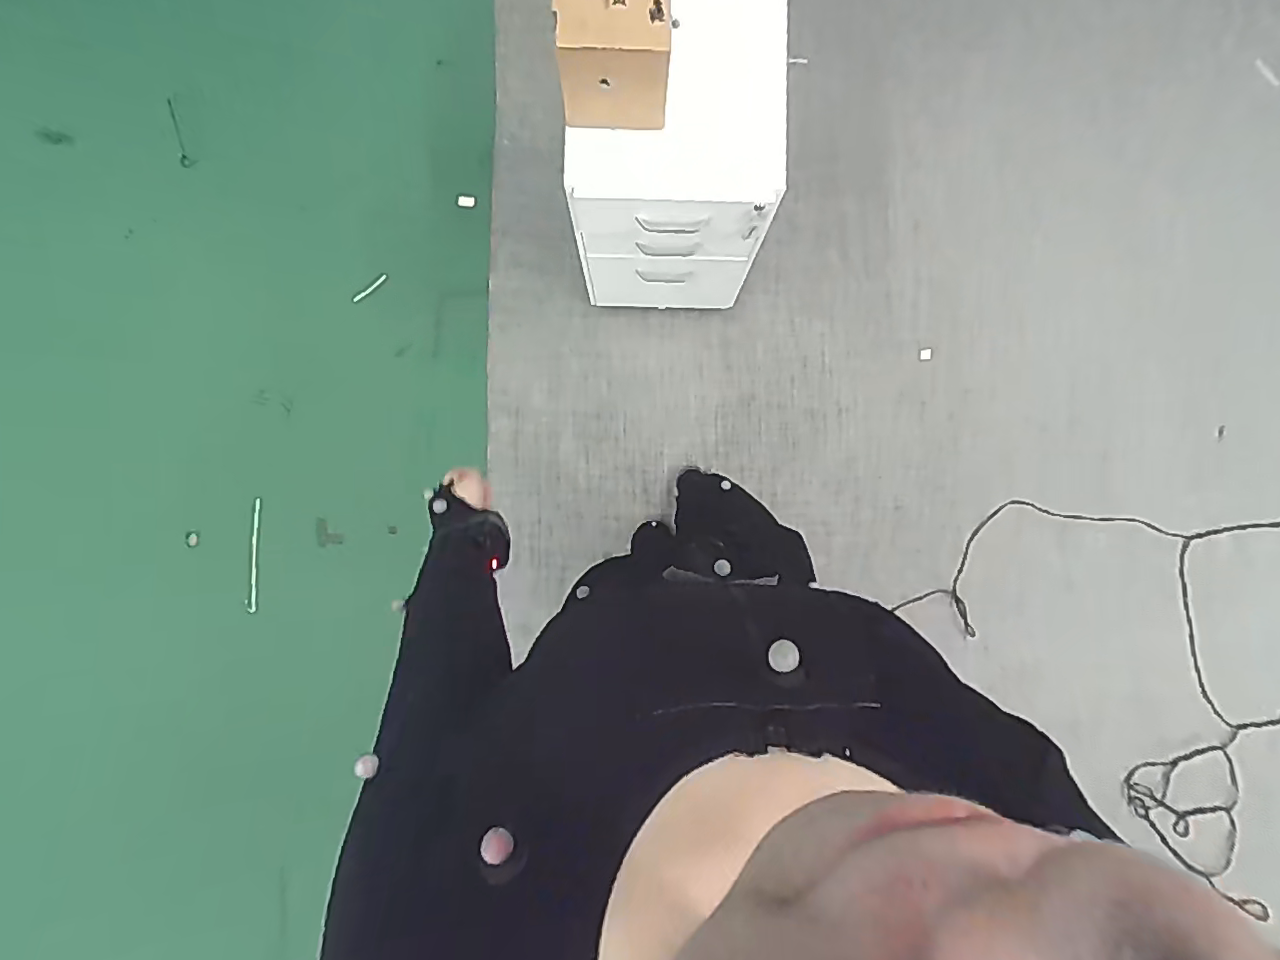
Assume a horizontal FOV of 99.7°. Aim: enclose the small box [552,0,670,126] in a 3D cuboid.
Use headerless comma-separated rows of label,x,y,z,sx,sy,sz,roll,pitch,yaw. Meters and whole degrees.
small box,-0.041,-0.710,0.879,0.179,0.176,0.168,0,87,0
